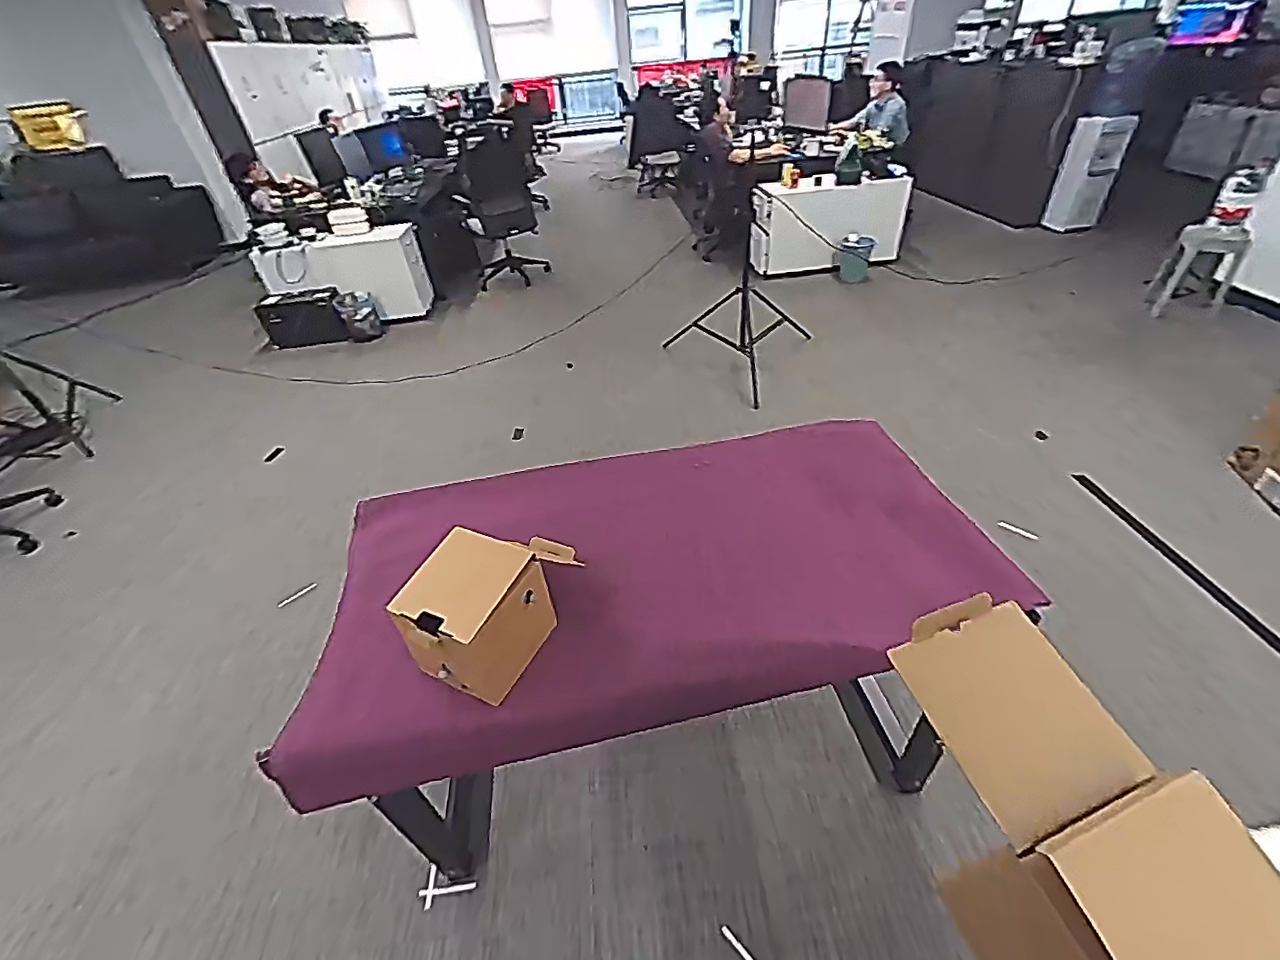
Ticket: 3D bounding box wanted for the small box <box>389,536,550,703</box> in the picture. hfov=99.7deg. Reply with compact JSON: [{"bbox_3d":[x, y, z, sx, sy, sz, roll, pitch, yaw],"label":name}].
[{"bbox_3d":[-0.265,0.226,0.890,0.168,0.176,0.179,13,42,24],"label":"small box"}]
